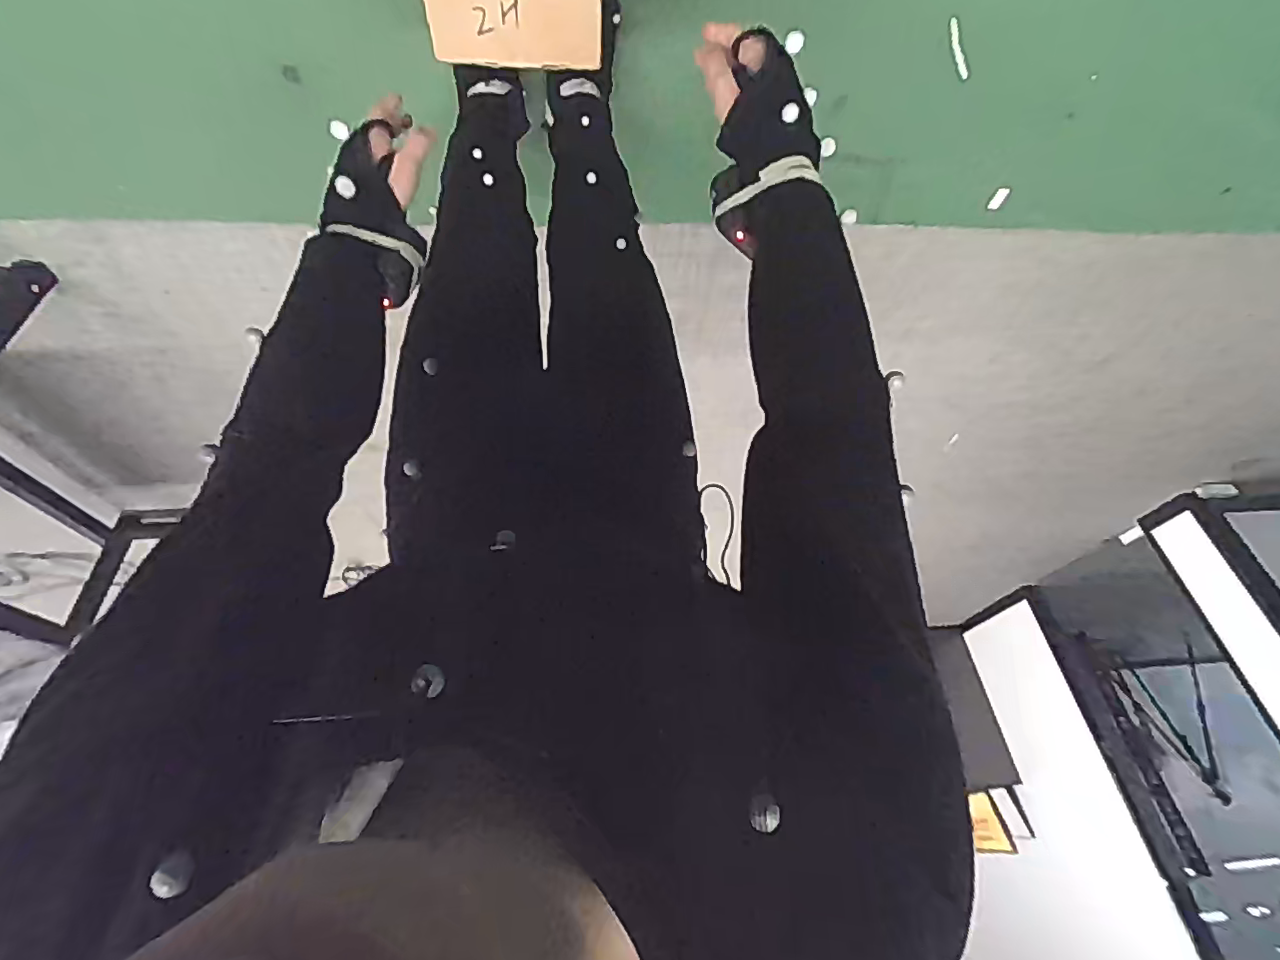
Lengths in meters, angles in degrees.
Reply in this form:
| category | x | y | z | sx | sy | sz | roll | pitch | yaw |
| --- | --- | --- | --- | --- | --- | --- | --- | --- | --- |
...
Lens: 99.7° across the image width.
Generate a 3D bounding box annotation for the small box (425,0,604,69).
| category | x | y | z | sx | sy | sz | roll | pitch | yaw |
| --- | --- | --- | --- | --- | --- | --- | --- | --- | --- |
| small box | -0.118 | -0.528 | 0.509 | 0.168 | 0.176 | 0.179 | -1 | 147 | -7 |
